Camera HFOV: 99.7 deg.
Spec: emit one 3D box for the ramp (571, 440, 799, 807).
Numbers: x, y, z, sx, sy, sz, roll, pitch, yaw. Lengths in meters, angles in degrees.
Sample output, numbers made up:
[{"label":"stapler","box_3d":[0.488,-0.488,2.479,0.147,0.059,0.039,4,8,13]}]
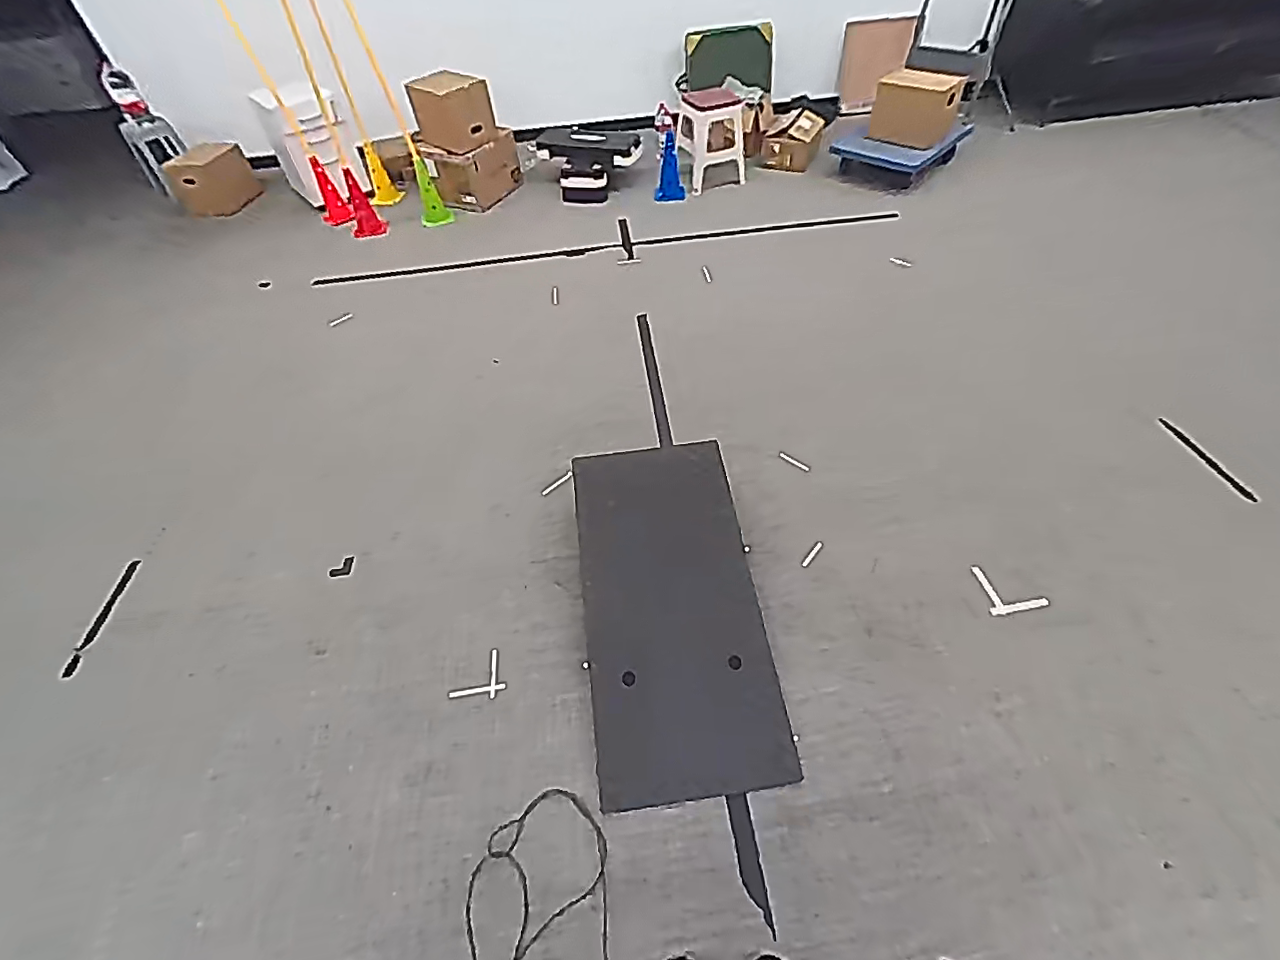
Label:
[{"label":"ramp","box_3d":[0.082,0.325,1.547,0.509,0.206,0.991,-8,50,-4]}]
